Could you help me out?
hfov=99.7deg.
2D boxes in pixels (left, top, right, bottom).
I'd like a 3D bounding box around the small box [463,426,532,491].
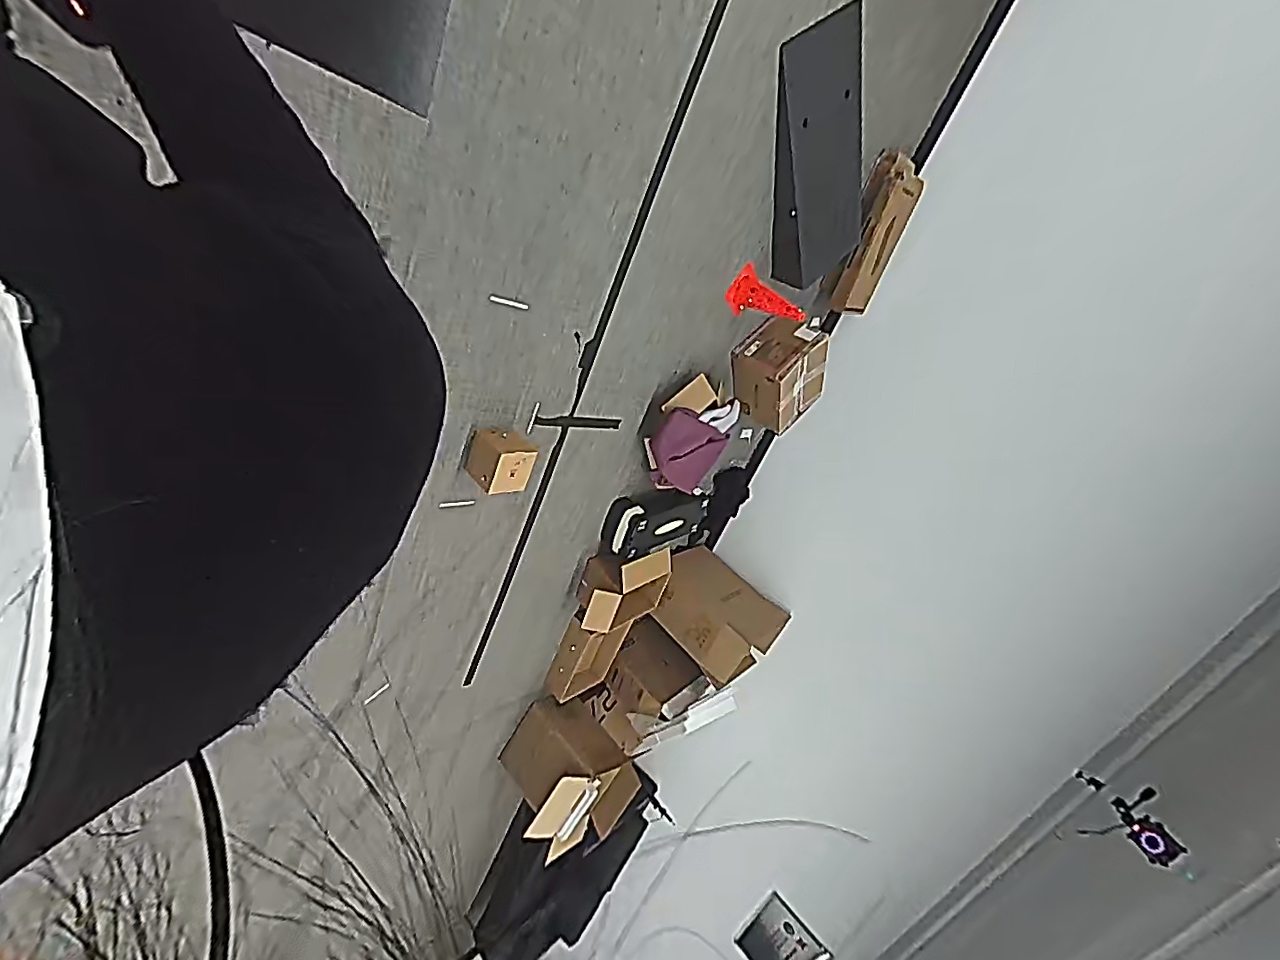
[{"bbox_3d":[-0.535,-0.082,2.009,0.168,0.176,0.179,-7,128,-51],"label":"small box"}]
